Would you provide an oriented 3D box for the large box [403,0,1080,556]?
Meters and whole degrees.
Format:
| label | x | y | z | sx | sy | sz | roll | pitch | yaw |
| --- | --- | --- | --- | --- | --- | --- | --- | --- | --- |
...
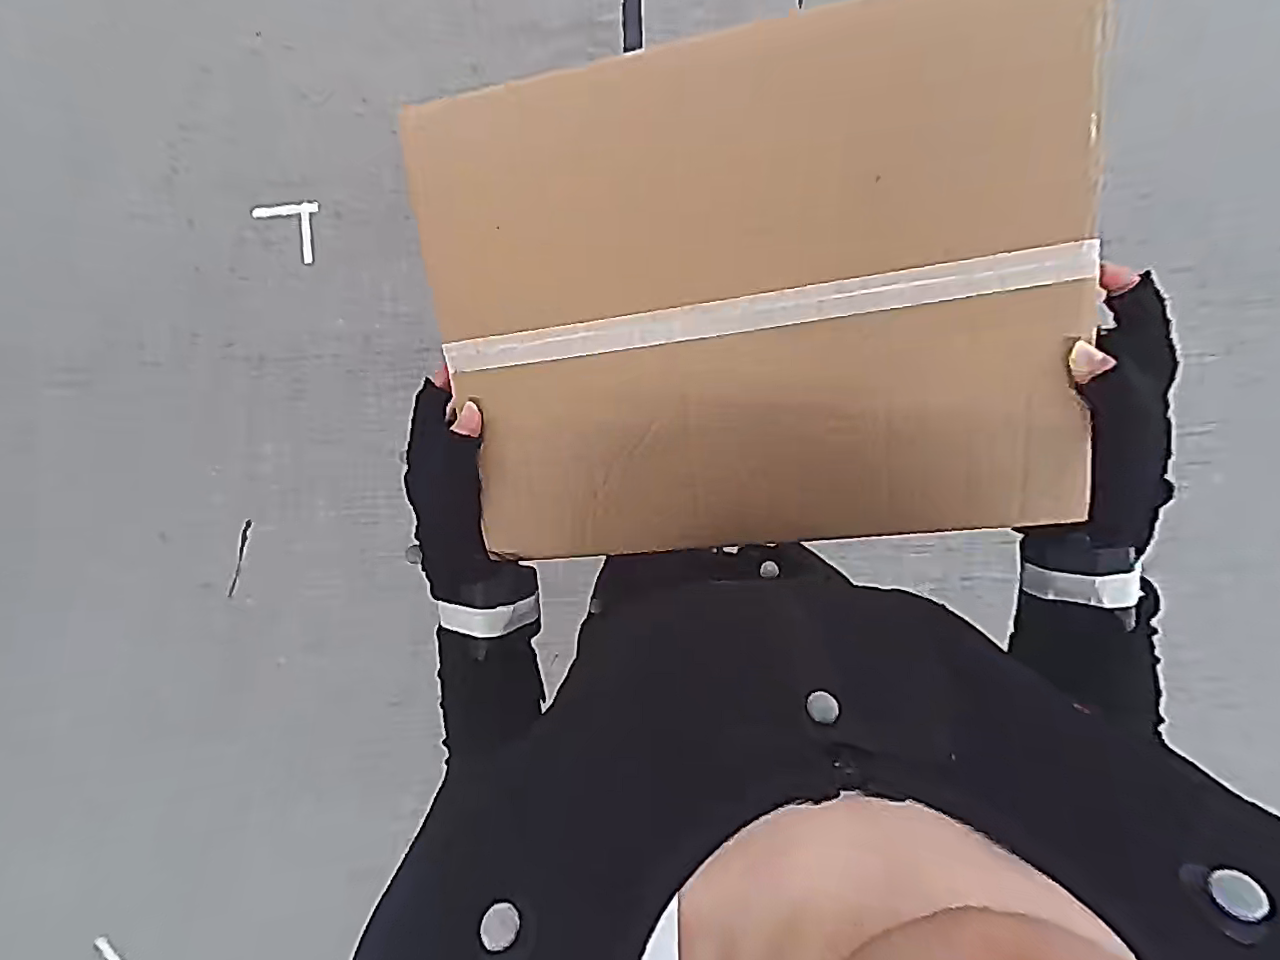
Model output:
| label | x | y | z | sx | sy | sz | roll | pitch | yaw |
| --- | --- | --- | --- | --- | --- | --- | --- | --- | --- |
| large box | 0.083 | -0.147 | 0.493 | 0.408 | 0.320 | 0.320 | -6 | 103 | 11 |
